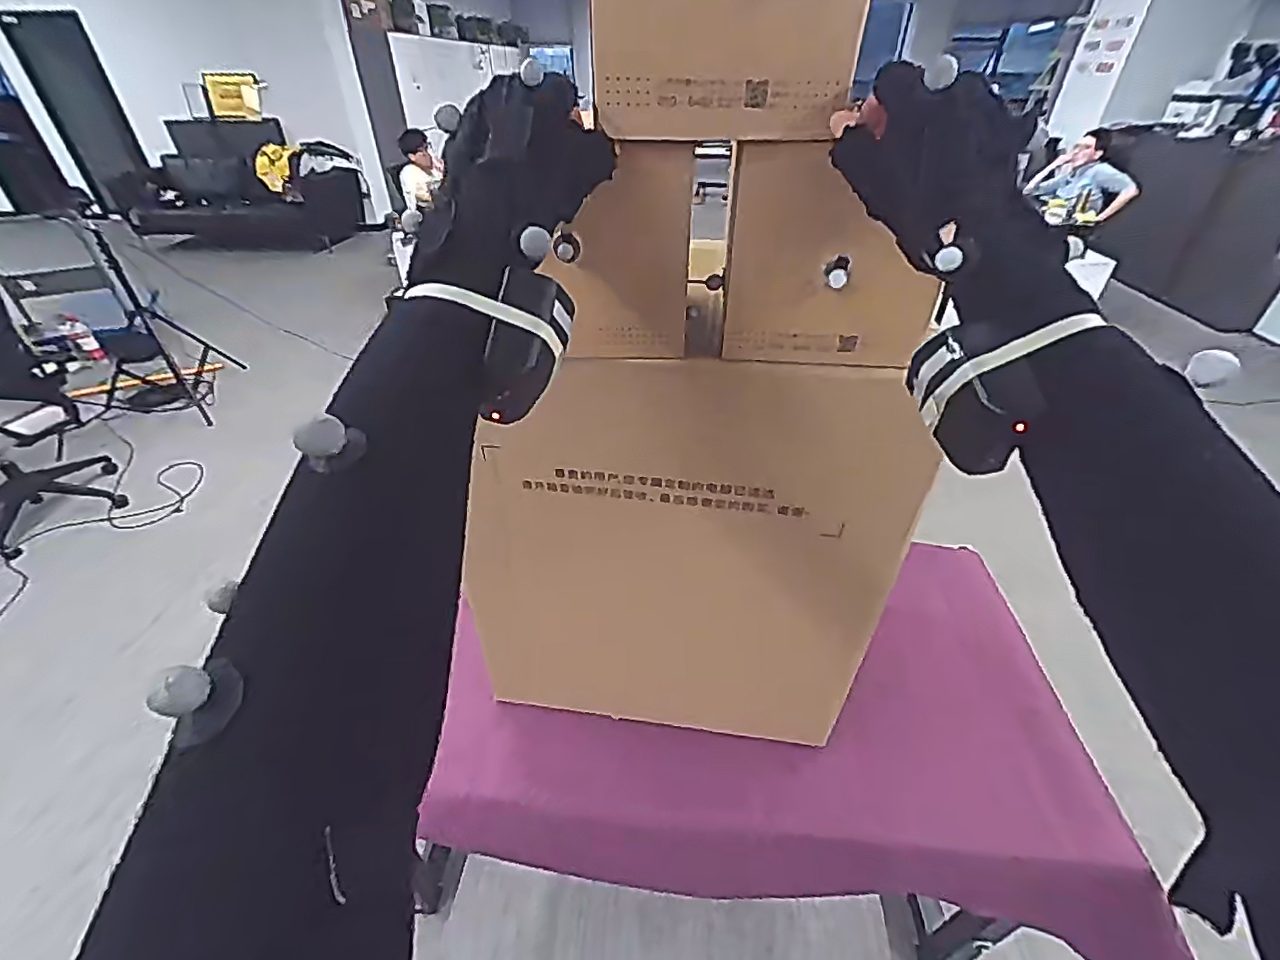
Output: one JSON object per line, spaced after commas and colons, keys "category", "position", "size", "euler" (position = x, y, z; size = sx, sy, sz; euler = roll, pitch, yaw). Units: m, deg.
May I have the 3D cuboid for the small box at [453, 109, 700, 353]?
{"category": "small box", "position": [-0.043, -0.224, 0.489], "size": [0.179, 0.176, 0.168], "euler": [0, 38, 1]}

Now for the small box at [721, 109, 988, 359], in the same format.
{"category": "small box", "position": [0.164, -0.220, 0.482], "size": [0.168, 0.176, 0.179], "euler": [4, 39, 5]}

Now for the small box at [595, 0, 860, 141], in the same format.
{"category": "small box", "position": [0.052, -0.344, 0.378], "size": [0.168, 0.176, 0.179], "euler": [-1, 38, -3]}
